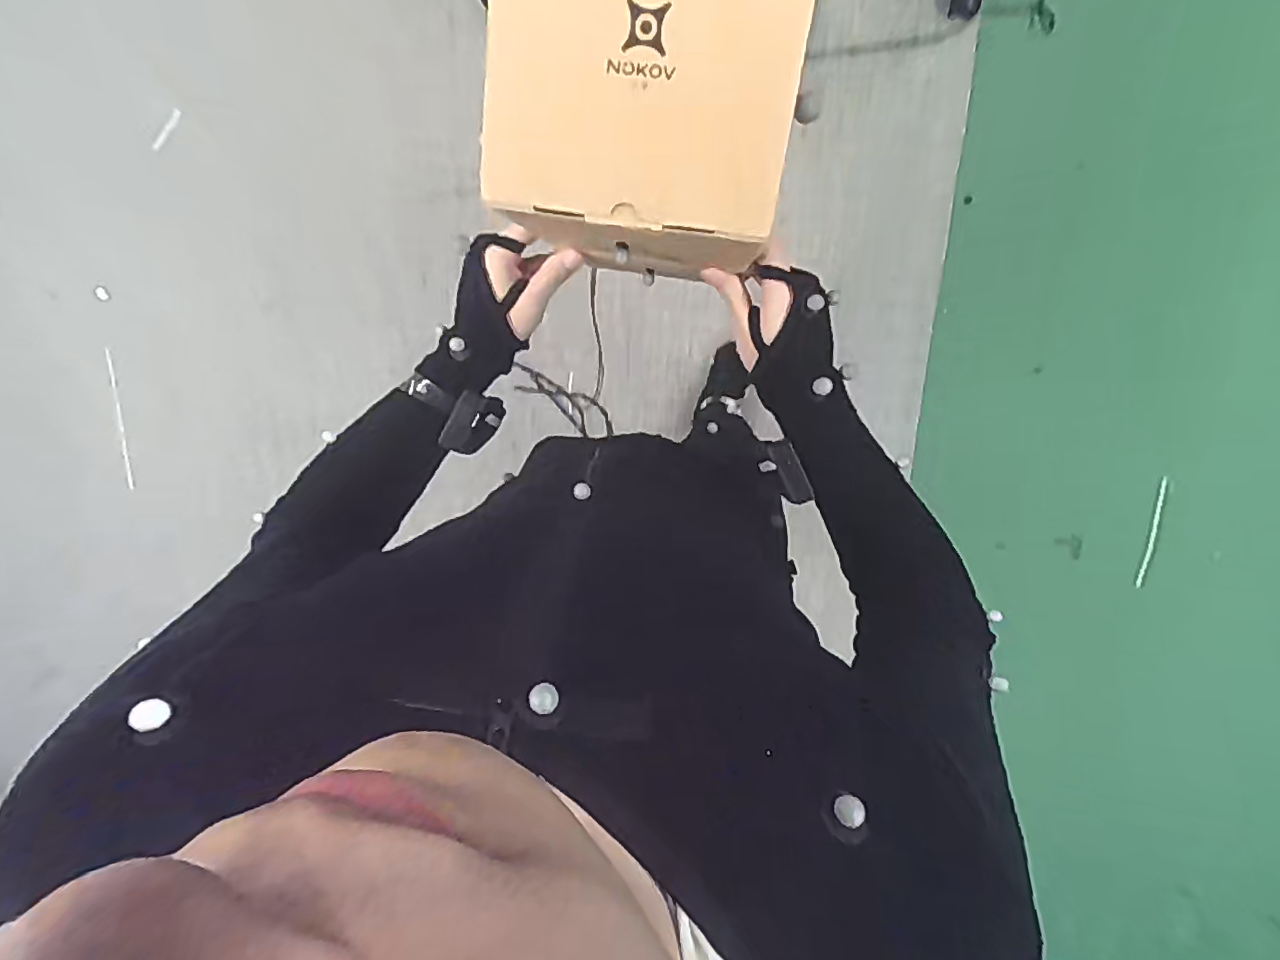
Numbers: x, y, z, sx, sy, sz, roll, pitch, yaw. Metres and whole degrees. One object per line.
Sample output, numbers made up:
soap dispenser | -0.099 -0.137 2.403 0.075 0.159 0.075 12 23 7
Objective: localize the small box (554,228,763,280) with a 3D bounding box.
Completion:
small box | 0.031 -0.286 0.506 0.179 0.176 0.168 9 107 4

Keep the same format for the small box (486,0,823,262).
small box | 0.013 -0.250 0.349 0.168 0.176 0.179 9 108 3
